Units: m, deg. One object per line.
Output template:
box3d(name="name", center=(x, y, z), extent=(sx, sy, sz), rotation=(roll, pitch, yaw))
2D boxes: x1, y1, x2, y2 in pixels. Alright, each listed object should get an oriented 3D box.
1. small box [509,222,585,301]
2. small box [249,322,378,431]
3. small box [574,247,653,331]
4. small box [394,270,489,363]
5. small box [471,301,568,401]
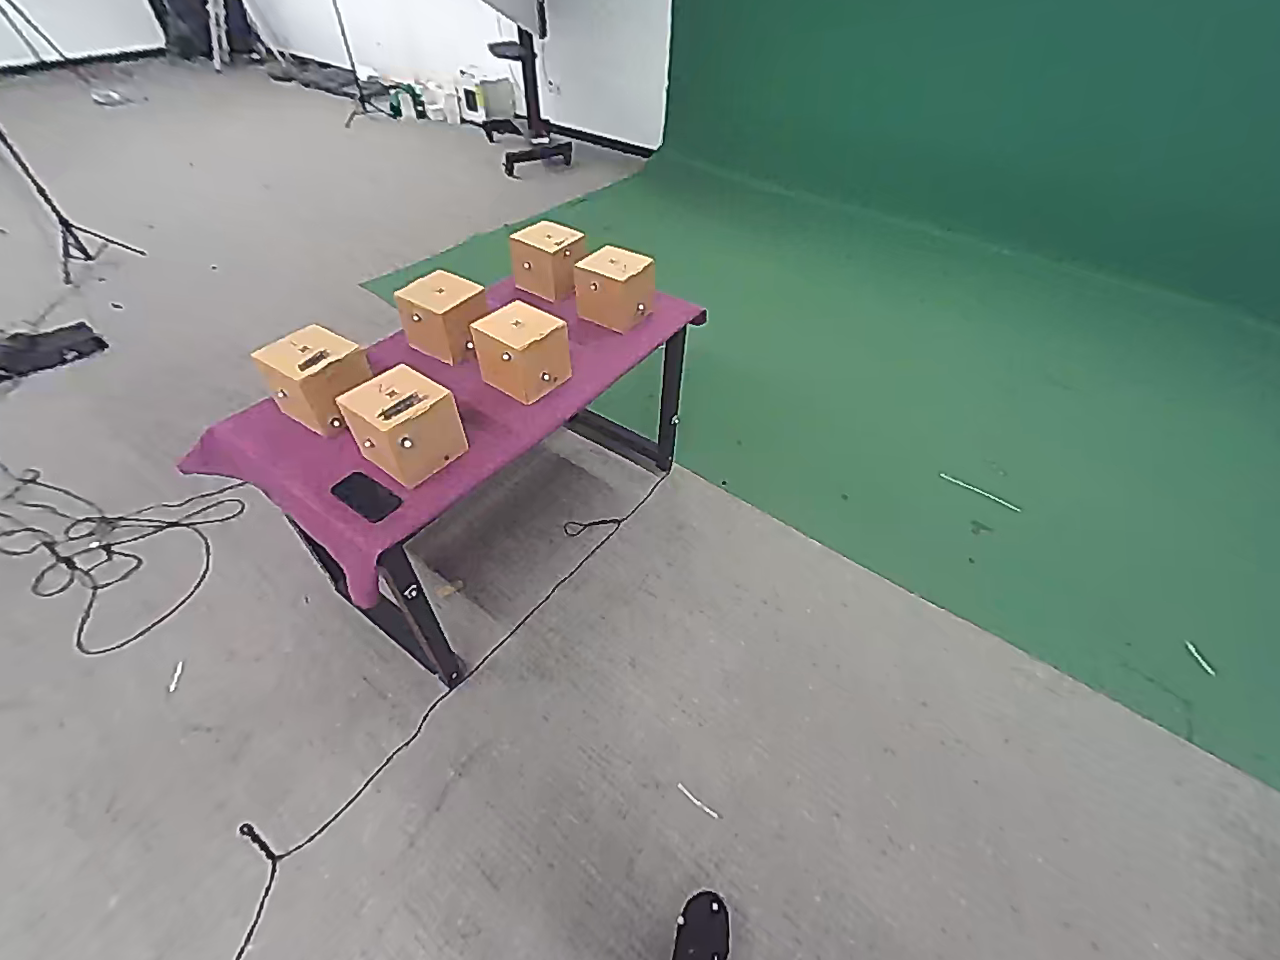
box3d(name="small box", center=(-0.293, -0.701, 1.738), extent=(0.179, 0.176, 0.168), rotation=(28, 52, 21))
box3d(name="small box", center=(-0.760, -0.241, 1.280), extent=(0.179, 0.176, 0.168), rotation=(26, 50, 20))
box3d(name="small box", center=(-0.078, -0.572, 1.625), extent=(0.179, 0.176, 0.168), rotation=(28, 53, 22))
box3d(name="small box", center=(-0.536, -0.448, 1.490), extent=(0.179, 0.176, 0.168), rotation=(27, 52, 20))
box3d(name="small box", center=(-0.304, -0.329, 1.390), extent=(0.179, 0.176, 0.168), rotation=(30, 52, 24))
